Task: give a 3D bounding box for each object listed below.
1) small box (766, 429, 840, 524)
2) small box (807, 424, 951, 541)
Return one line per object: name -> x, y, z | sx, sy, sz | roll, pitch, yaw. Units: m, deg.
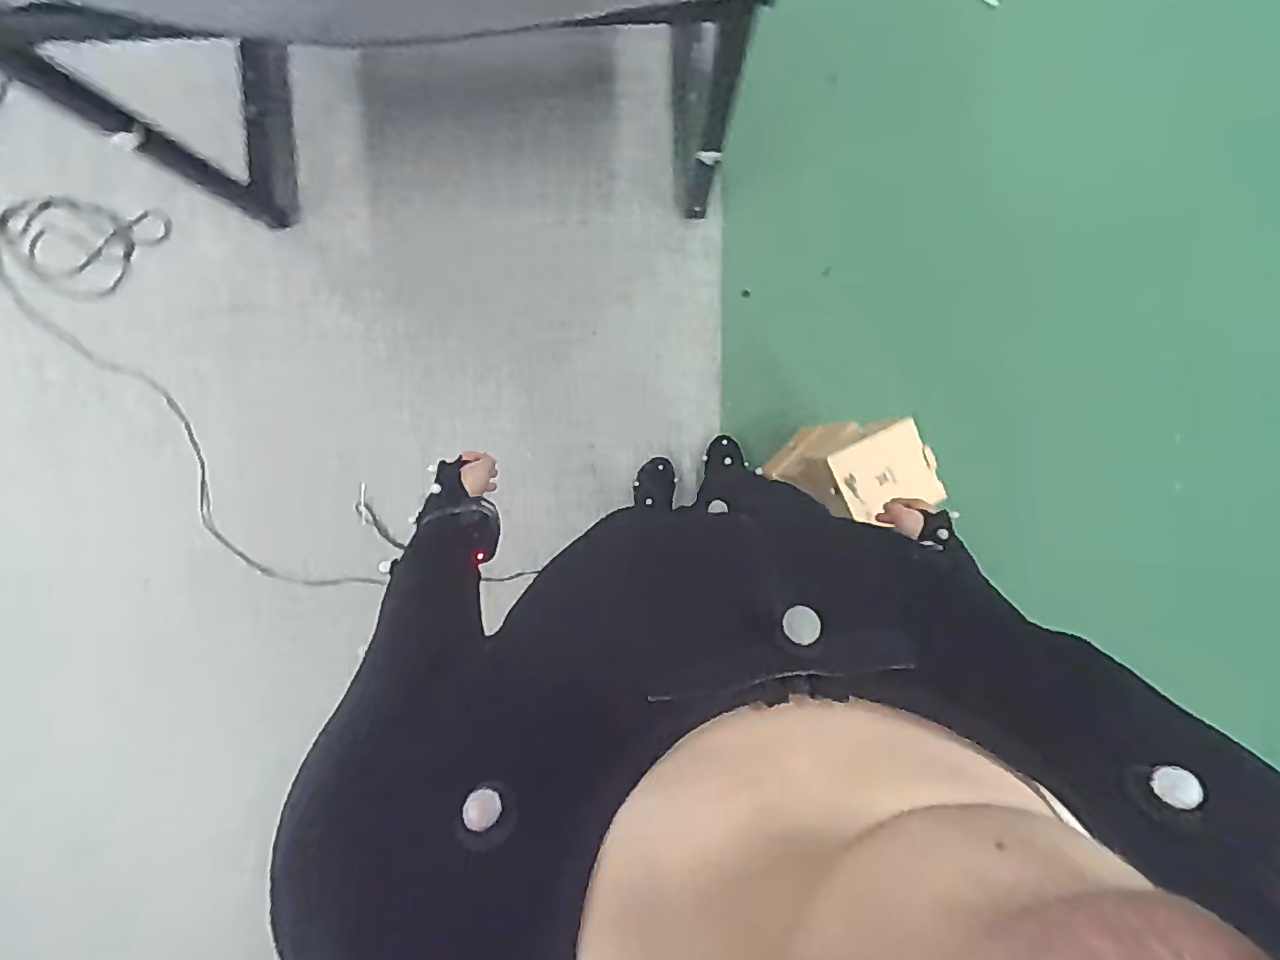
small box -> 0.446, -0.011, 1.393 | 0.179, 0.176, 0.168 | -45, 91, 2
small box -> 0.458, 0.000, 1.064 | 0.179, 0.176, 0.168 | -25, 92, 2
